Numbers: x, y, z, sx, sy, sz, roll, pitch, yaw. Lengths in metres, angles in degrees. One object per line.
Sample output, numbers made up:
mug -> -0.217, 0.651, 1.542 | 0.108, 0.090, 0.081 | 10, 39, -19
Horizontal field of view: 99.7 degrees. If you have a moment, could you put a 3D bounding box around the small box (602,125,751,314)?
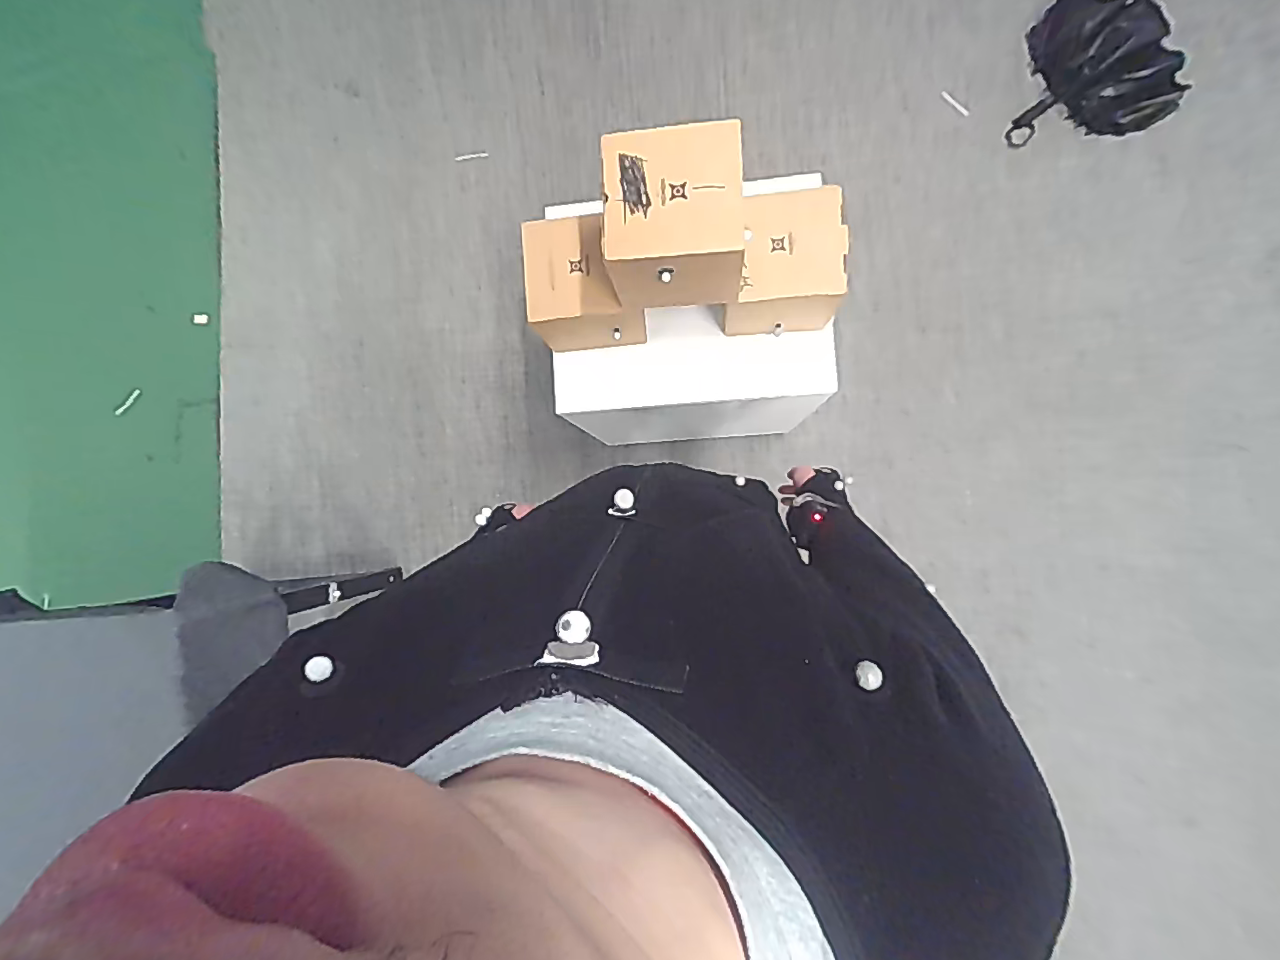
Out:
small box -> 0.050, -0.334, 0.728 | 0.179, 0.176, 0.168 | -3, 86, 5

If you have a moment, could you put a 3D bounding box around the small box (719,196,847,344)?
small box -> 0.220, -0.330, 0.879 | 0.179, 0.176, 0.168 | -4, 86, 6

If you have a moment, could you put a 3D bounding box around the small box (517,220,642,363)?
small box -> -0.091, -0.305, 0.903 | 0.179, 0.176, 0.168 | -7, 84, 4
